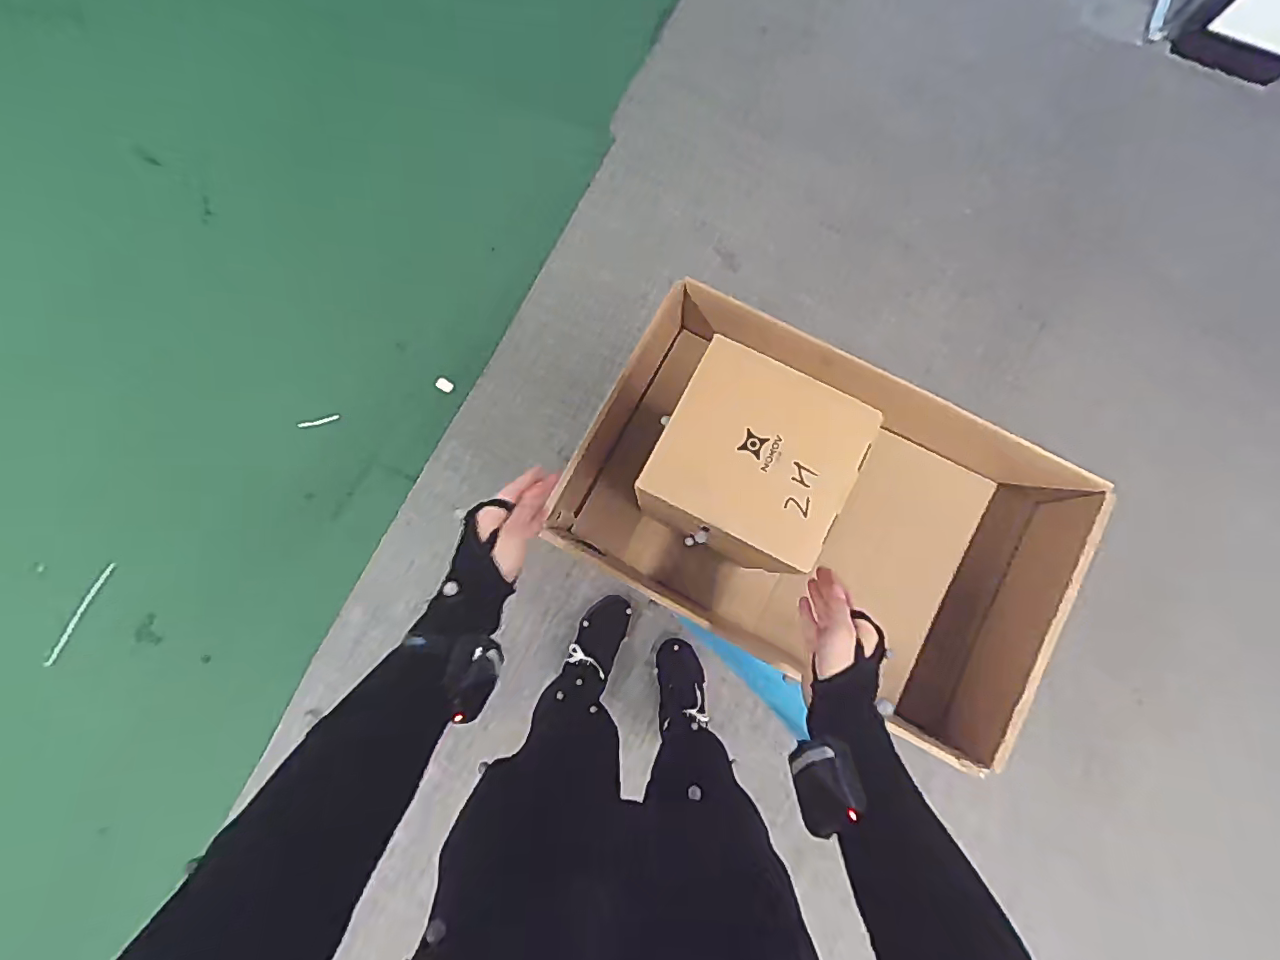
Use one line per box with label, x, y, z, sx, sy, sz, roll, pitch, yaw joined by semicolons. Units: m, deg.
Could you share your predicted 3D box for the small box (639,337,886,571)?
small box;0.113;-0.014;0.569;0.179;0.176;0.168;28;83;5
